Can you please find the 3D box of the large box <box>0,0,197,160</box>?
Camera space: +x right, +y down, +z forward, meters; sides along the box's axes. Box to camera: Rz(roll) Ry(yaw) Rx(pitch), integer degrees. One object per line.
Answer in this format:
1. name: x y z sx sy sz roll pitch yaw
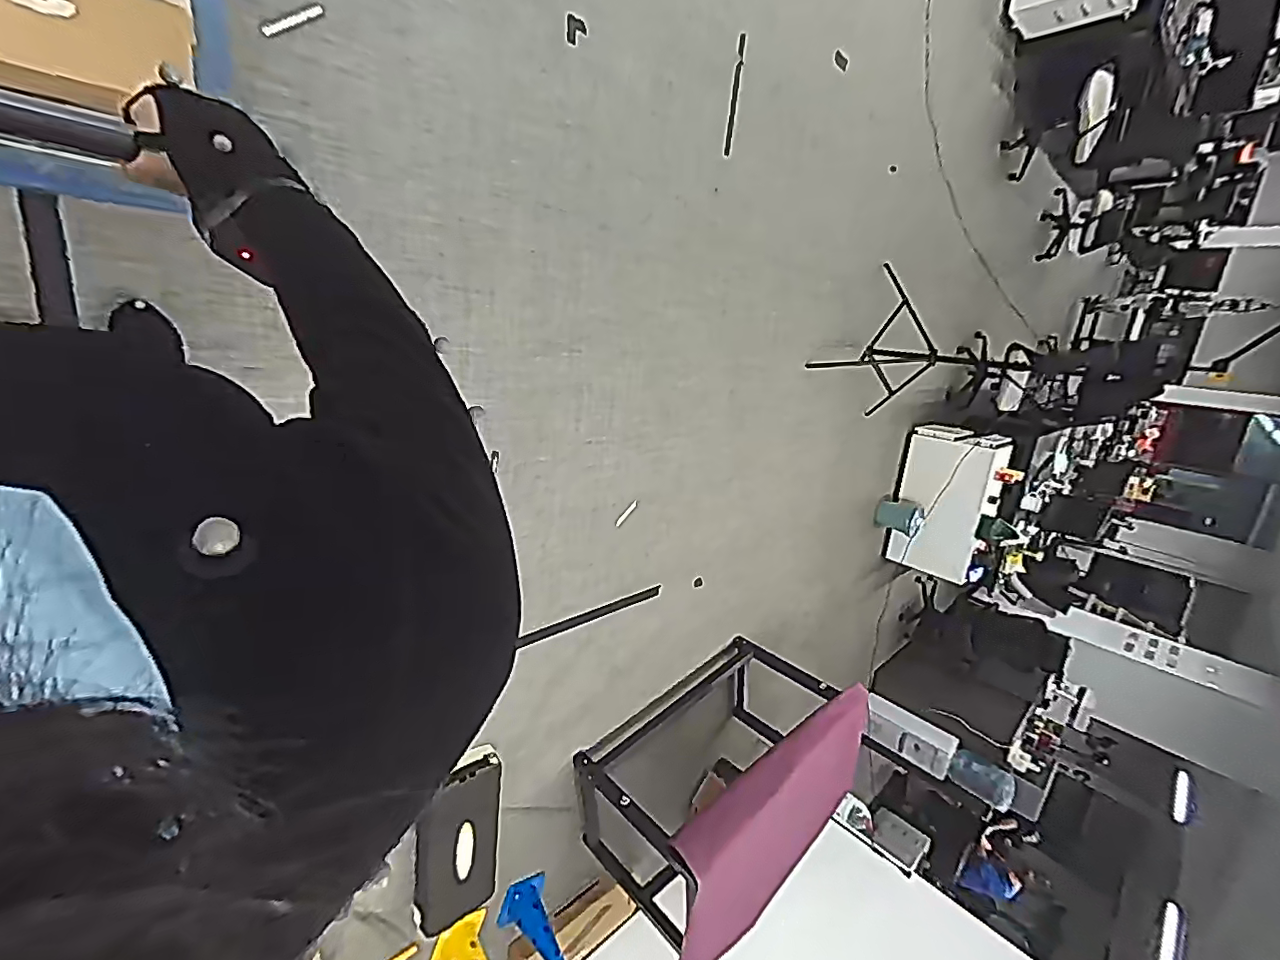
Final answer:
1. large box: -0.846 -0.642 0.672 0.408 0.320 0.320 -9 112 -44
